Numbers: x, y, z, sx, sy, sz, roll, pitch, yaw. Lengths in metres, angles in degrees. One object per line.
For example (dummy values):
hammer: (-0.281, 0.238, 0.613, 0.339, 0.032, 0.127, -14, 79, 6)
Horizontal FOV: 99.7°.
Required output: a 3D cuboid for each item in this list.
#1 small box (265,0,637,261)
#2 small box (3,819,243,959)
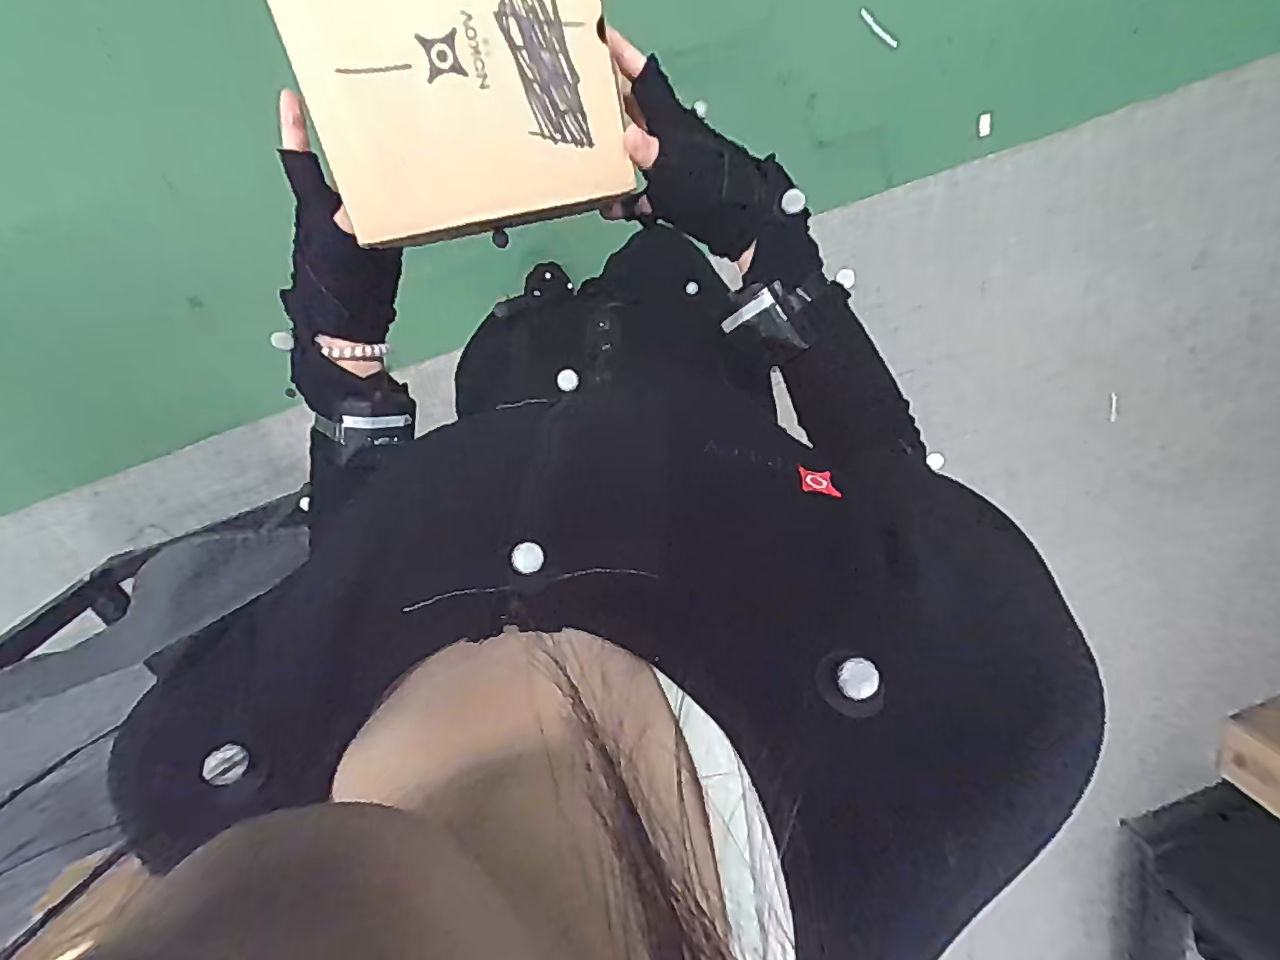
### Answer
small box: (-0.113, -0.257, 0.372, 0.179, 0.176, 0.168, -14, 115, -4)
small box: (-0.754, 0.655, 0.806, 0.179, 0.176, 0.168, -24, 116, -1)
